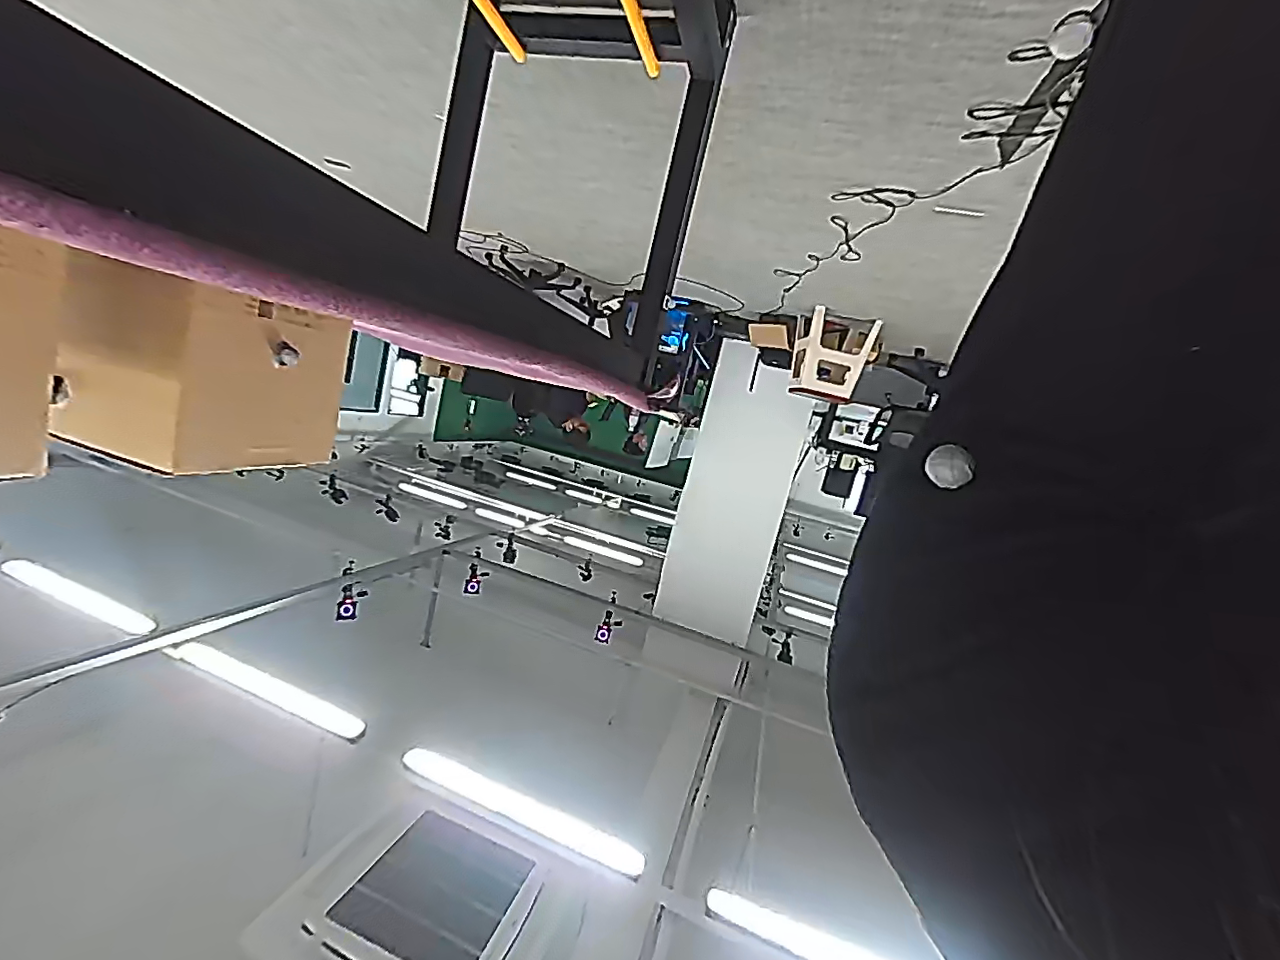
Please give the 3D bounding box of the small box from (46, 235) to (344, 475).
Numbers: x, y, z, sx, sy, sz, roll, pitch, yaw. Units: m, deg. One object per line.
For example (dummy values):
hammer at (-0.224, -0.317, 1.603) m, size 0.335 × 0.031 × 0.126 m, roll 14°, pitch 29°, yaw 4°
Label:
small box at (-0.415, -0.113, 0.510) m, size 0.179 × 0.176 × 0.168 m, roll 15°, pitch -171°, yaw 11°

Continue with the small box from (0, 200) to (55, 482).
small box at (-0.470, -0.094, 0.276) m, size 0.168 × 0.176 × 0.179 m, roll 16°, pitch -171°, yaw 9°
